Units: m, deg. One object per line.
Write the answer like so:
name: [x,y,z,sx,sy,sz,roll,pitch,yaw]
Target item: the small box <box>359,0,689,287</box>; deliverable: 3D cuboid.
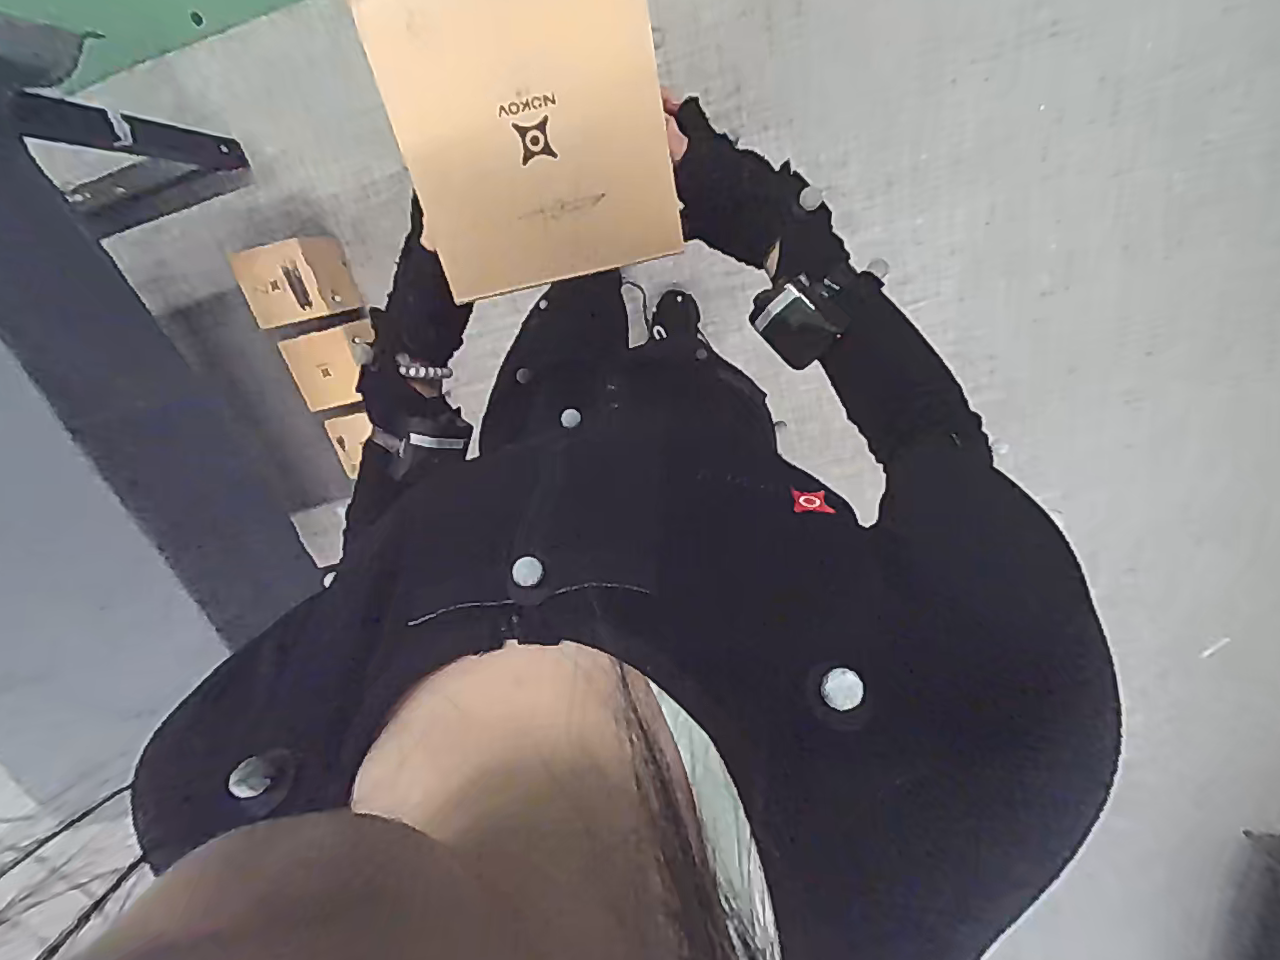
small box: [-0.067,-0.255,0.392,0.168,0.176,0.179,-11,119,2]
